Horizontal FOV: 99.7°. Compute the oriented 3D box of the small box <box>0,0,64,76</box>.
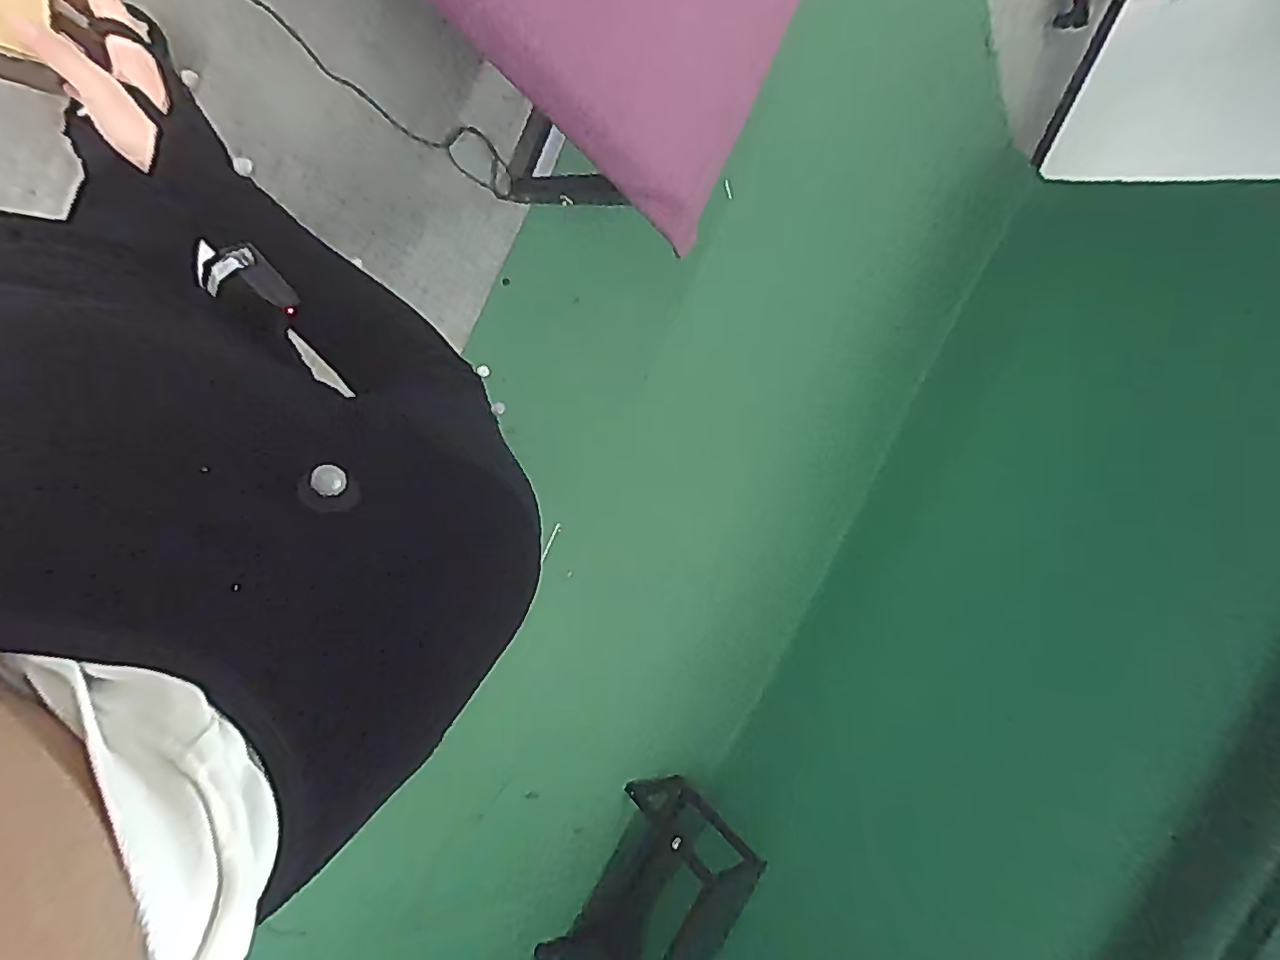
[{"bbox_3d":[-0.504,-0.403,0.353,0.168,0.176,0.179,-3,112,-44],"label":"small box"}]
